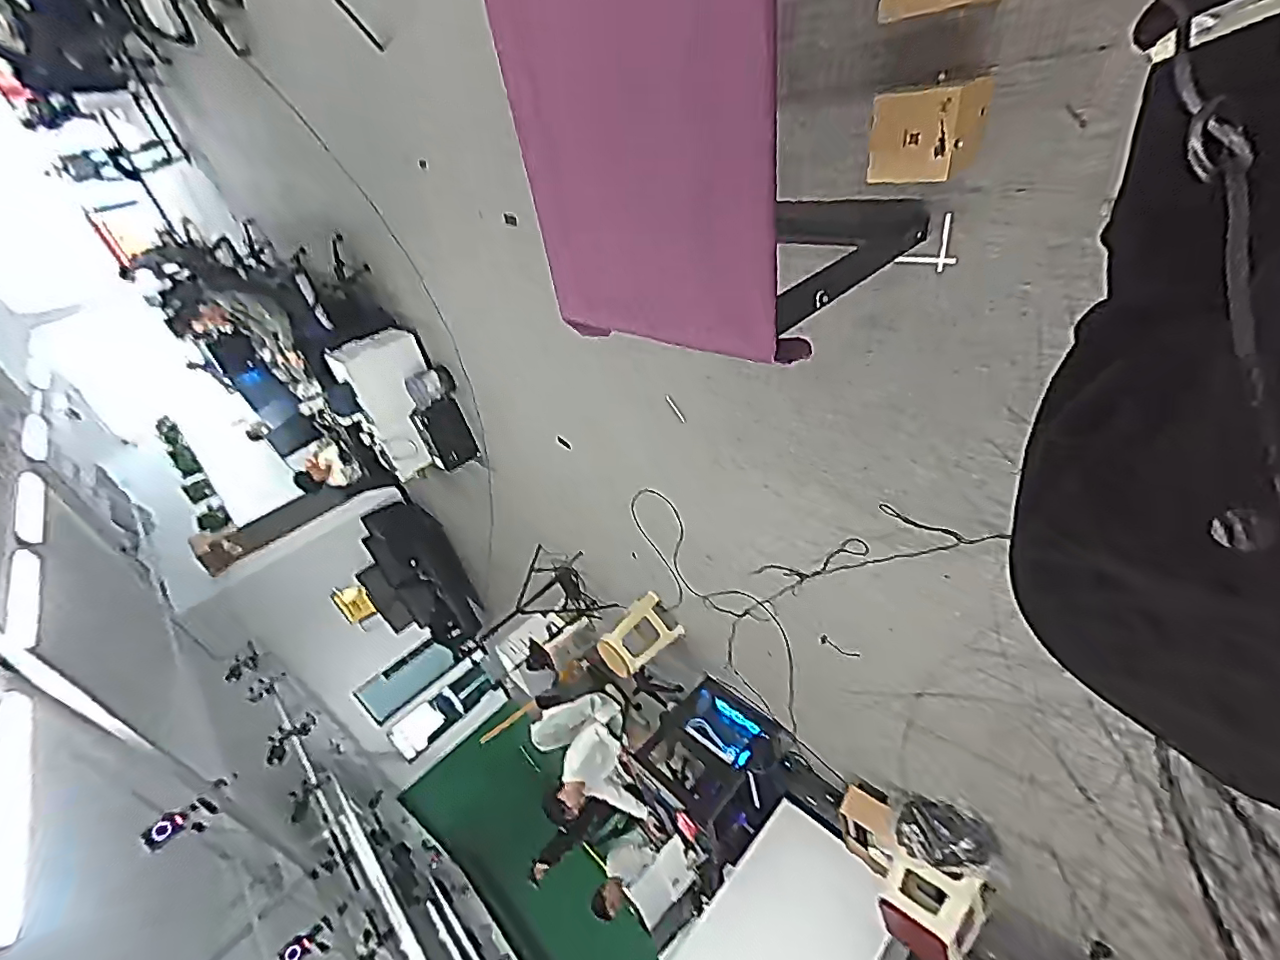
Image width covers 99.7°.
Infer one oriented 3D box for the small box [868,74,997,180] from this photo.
[{"bbox_3d":[0.624,-0.757,1.163,0.179,0.176,0.168,28,141,39],"label":"small box"}]
